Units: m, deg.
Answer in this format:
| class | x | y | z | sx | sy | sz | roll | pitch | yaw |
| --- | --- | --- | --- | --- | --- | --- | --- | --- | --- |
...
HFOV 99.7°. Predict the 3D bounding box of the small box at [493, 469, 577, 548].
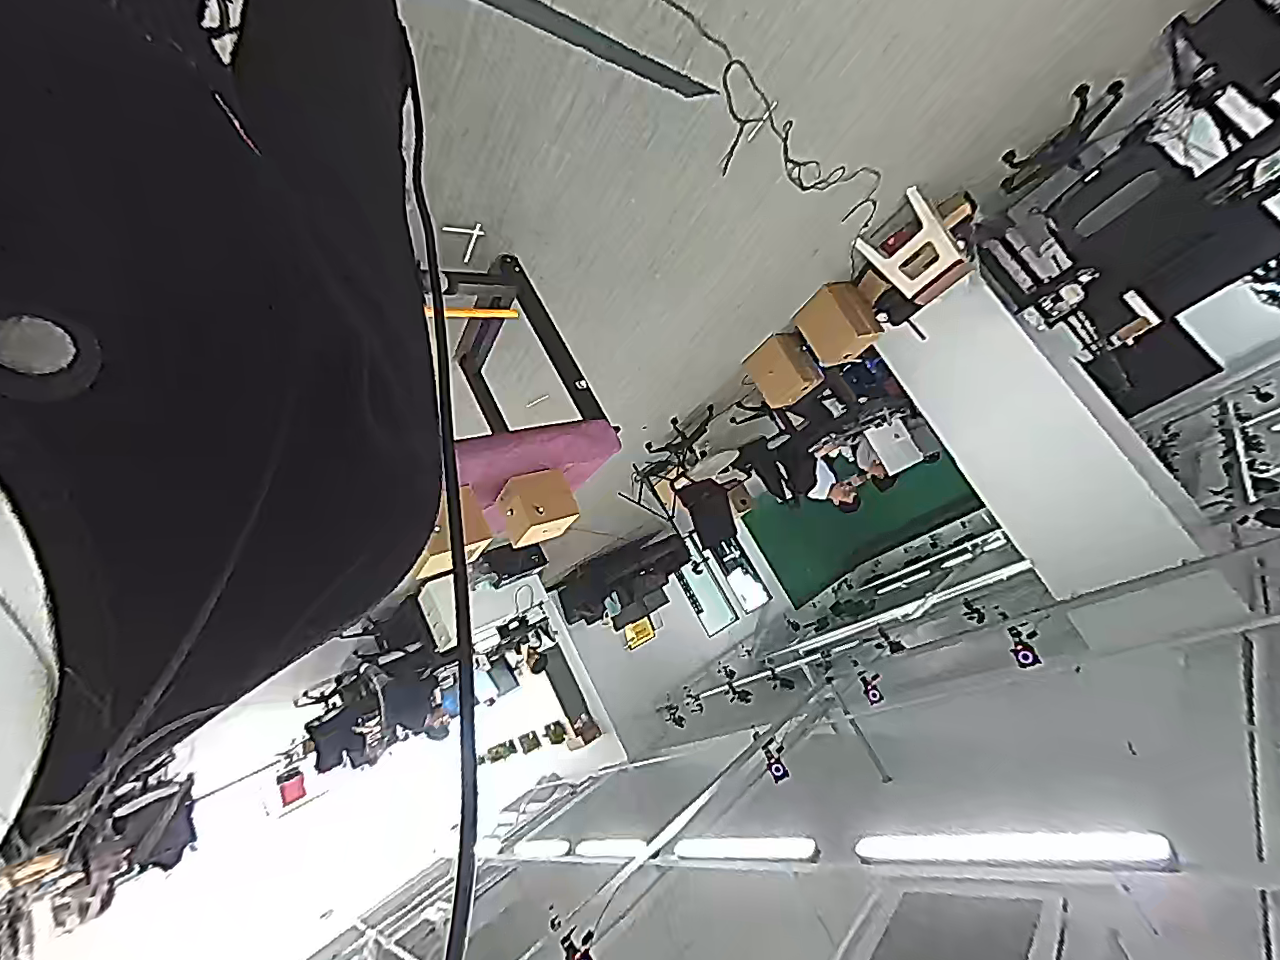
| class | x | y | z | sx | sy | sz | roll | pitch | yaw |
| --- | --- | --- | --- | --- | --- | --- | --- | --- | --- |
| small box | -0.332 | 0.085 | 1.671 | 0.179 | 0.176 | 0.168 | -14 | 160 | -40 |
